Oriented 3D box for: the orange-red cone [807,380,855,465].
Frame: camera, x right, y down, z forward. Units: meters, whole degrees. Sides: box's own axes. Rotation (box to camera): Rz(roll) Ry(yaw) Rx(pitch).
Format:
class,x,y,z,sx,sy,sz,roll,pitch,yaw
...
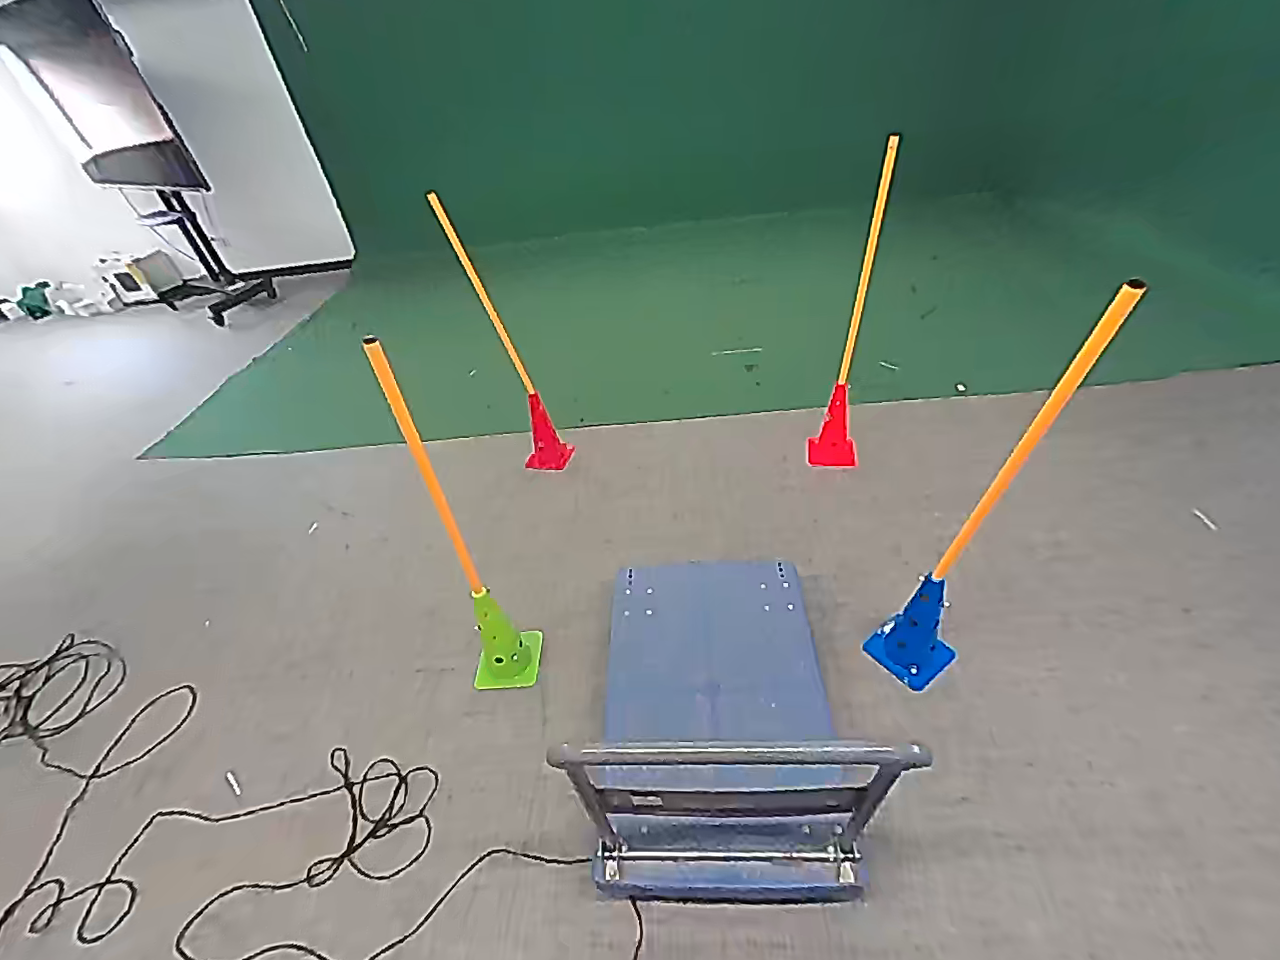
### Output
class,x,y,z,sx,sy,sz,roll,pitch,yaw
orange-red cone,0.821,-0.257,2.278,0.198,0.360,0.199,3,42,14
